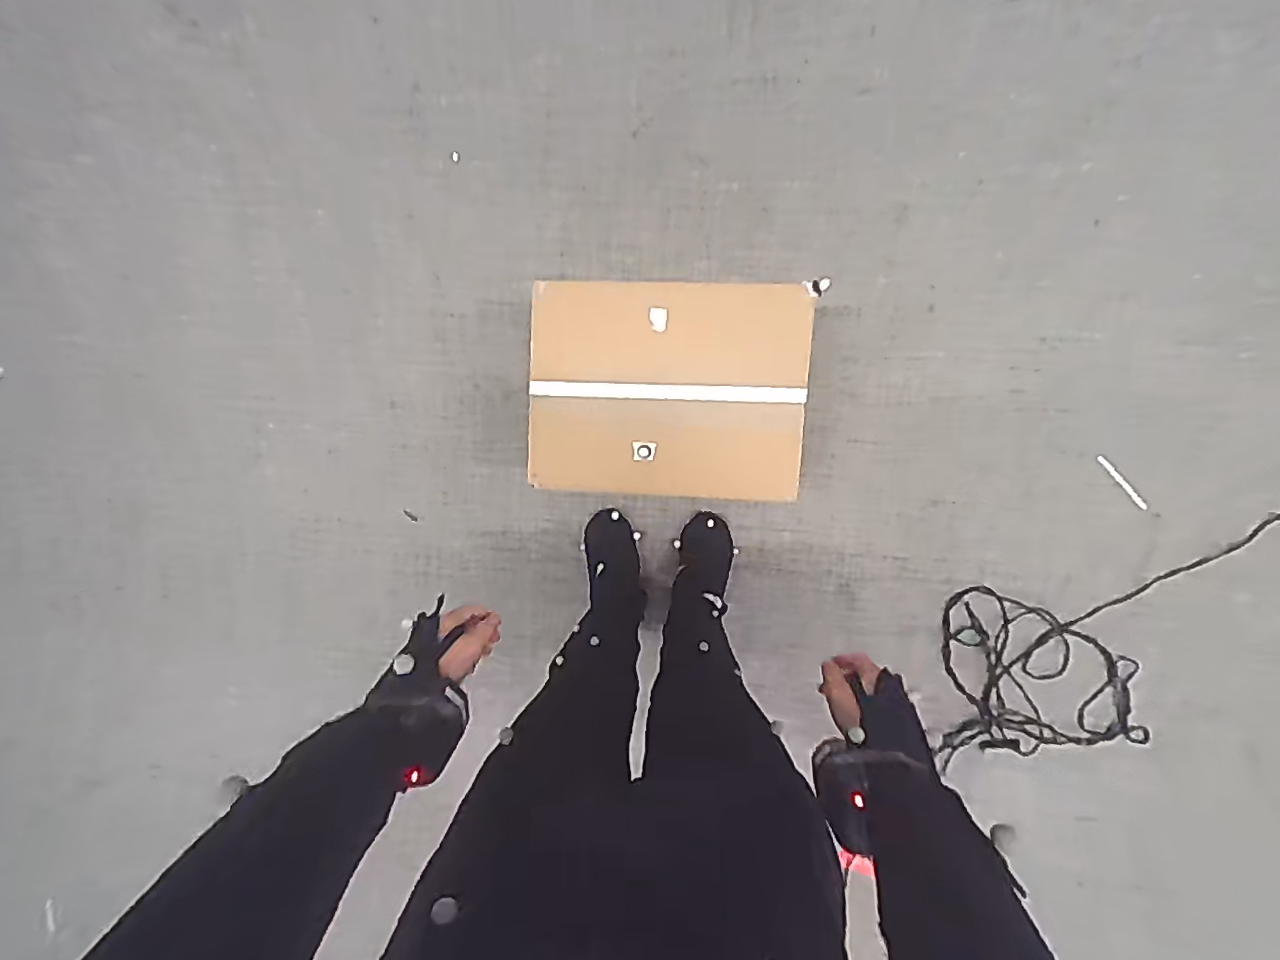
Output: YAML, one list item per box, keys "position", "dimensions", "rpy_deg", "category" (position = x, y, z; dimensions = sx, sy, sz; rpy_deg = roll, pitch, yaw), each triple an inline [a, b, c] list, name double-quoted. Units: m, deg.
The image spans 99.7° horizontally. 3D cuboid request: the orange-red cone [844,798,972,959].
- position: [0.550, 0.818, 0.994]
  dimensions: [0.199, 0.360, 0.198]
  rpy_deg: [23, 101, 1]
  category: "orange-red cone"
